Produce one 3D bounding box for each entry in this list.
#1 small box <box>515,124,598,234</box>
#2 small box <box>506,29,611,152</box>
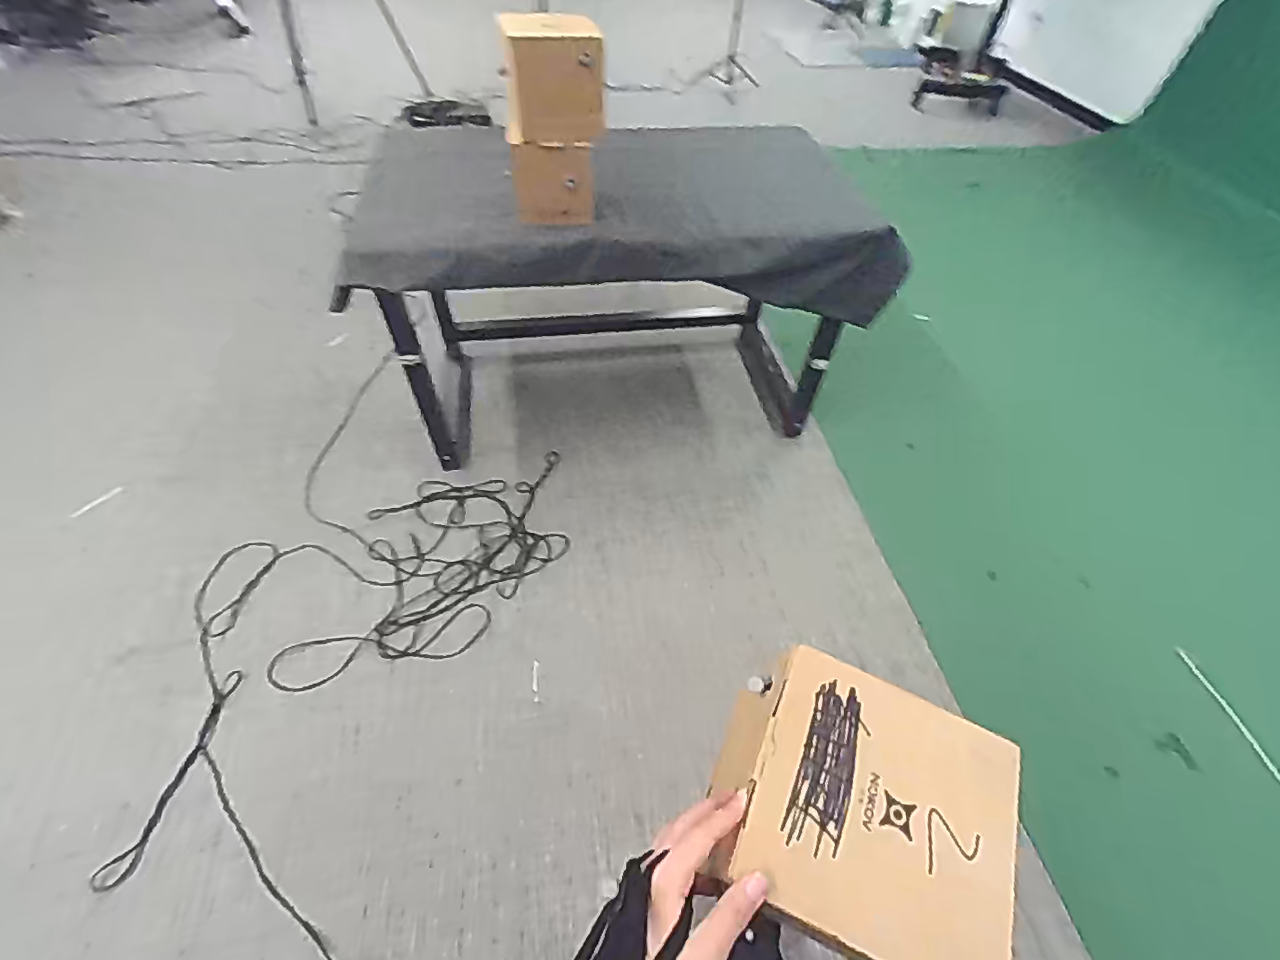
[{"bbox_3d":[-0.182,-0.660,1.191,0.168,0.176,0.179,-4,50,-8],"label":"small box"},{"bbox_3d":[-0.159,-0.768,1.070,0.179,0.176,0.168,-10,51,-13],"label":"small box"}]
